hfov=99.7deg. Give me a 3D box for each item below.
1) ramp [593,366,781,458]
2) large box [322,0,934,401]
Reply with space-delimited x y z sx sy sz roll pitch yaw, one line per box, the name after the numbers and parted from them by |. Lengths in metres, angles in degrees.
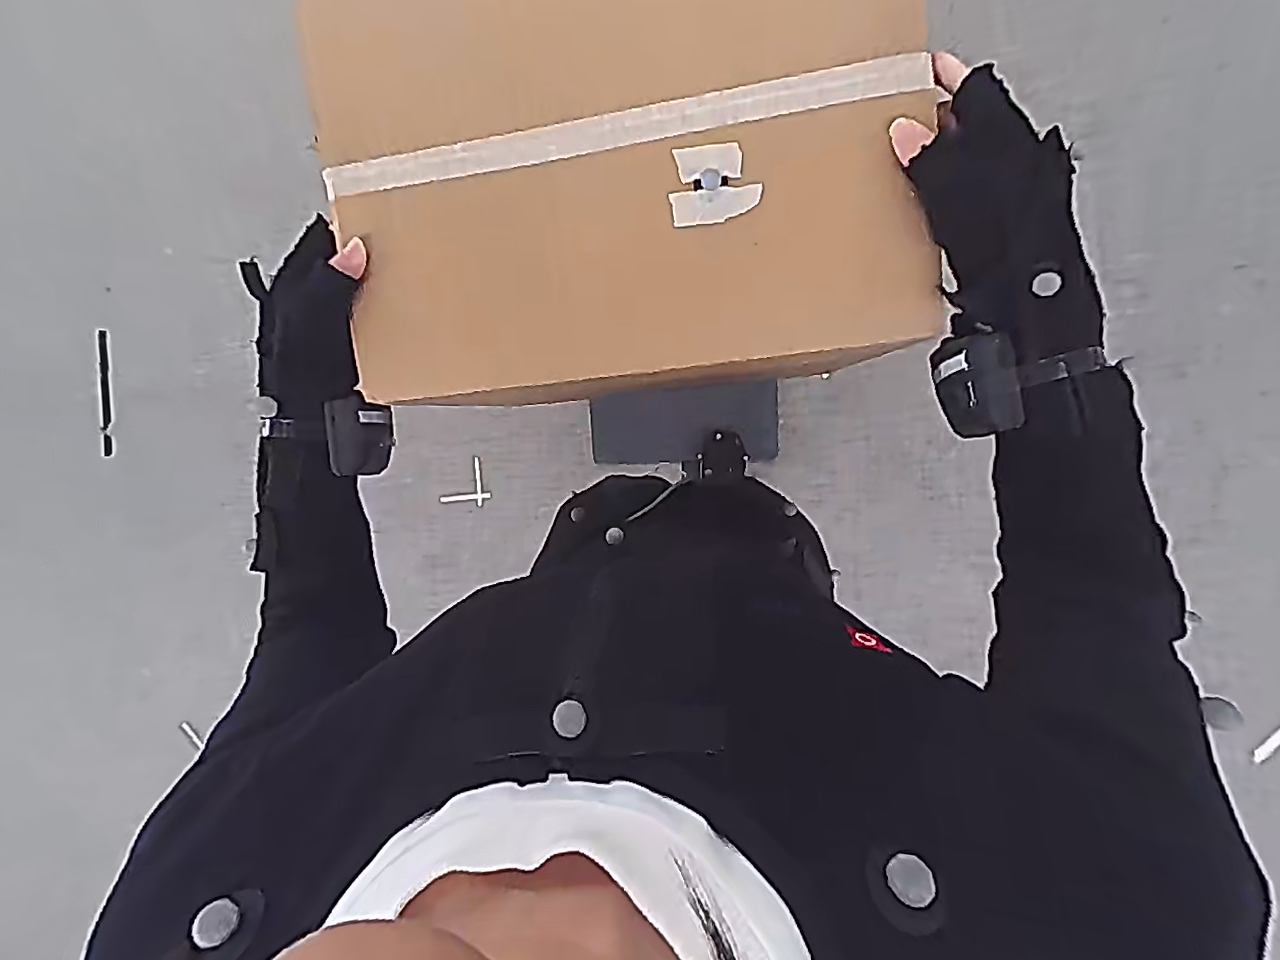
0.099 -0.553 1.344 0.509 0.206 0.991 -3 92 9 | ramp
0.000 -0.257 0.517 0.408 0.320 0.320 -6 97 8 | large box
